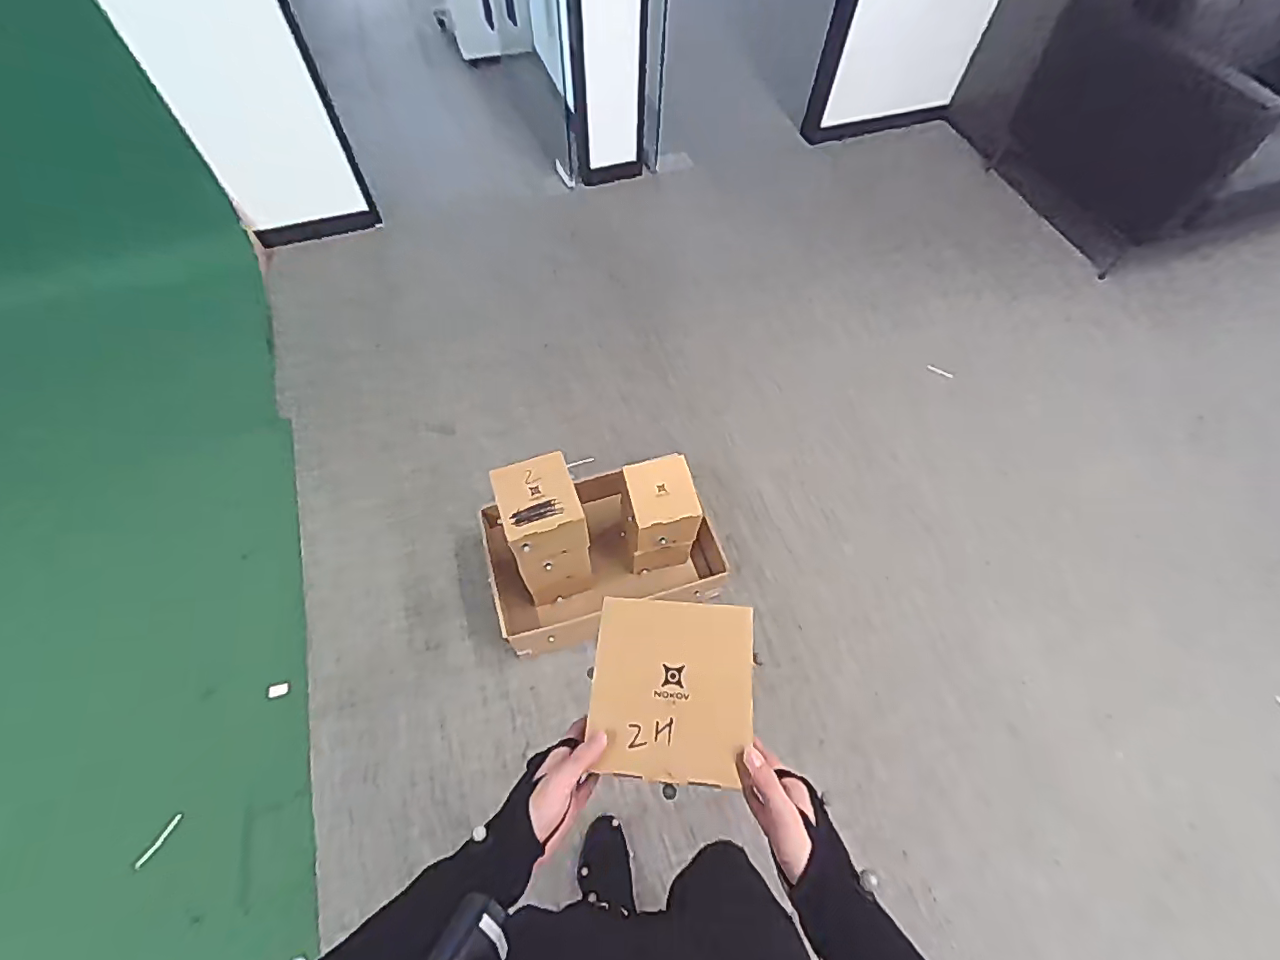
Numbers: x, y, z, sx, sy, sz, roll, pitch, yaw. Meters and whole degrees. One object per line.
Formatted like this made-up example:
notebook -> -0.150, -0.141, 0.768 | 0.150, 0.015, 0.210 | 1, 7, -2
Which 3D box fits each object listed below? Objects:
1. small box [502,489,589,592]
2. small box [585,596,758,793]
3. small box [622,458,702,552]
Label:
small box -> -0.232, 0.153, 1.349 | 0.168, 0.176, 0.179 | -18, 63, -11
small box -> 0.043, 0.248, 0.619 | 0.168, 0.176, 0.179 | 3, 61, 8
small box -> 0.049, 0.067, 1.409 | 0.168, 0.176, 0.179 | -11, 64, -9
